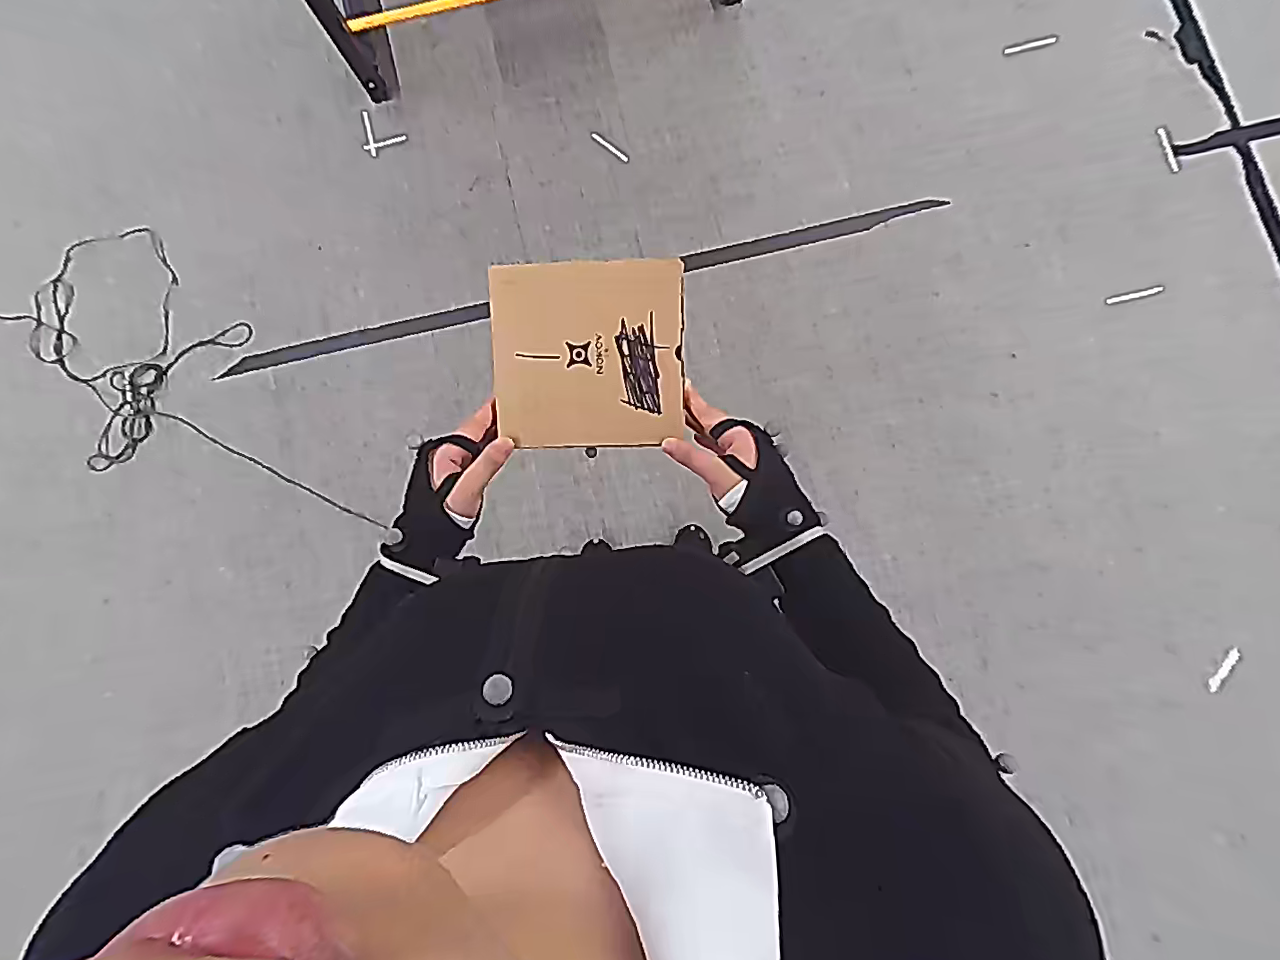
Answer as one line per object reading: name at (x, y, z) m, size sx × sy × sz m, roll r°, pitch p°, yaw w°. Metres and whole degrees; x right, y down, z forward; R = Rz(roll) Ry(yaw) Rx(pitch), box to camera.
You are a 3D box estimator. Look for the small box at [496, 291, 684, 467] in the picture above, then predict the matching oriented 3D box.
small box at (-0.045, -0.104, 0.588) m, size 0.179 × 0.176 × 0.168 m, roll -1°, pitch 97°, yaw 2°
